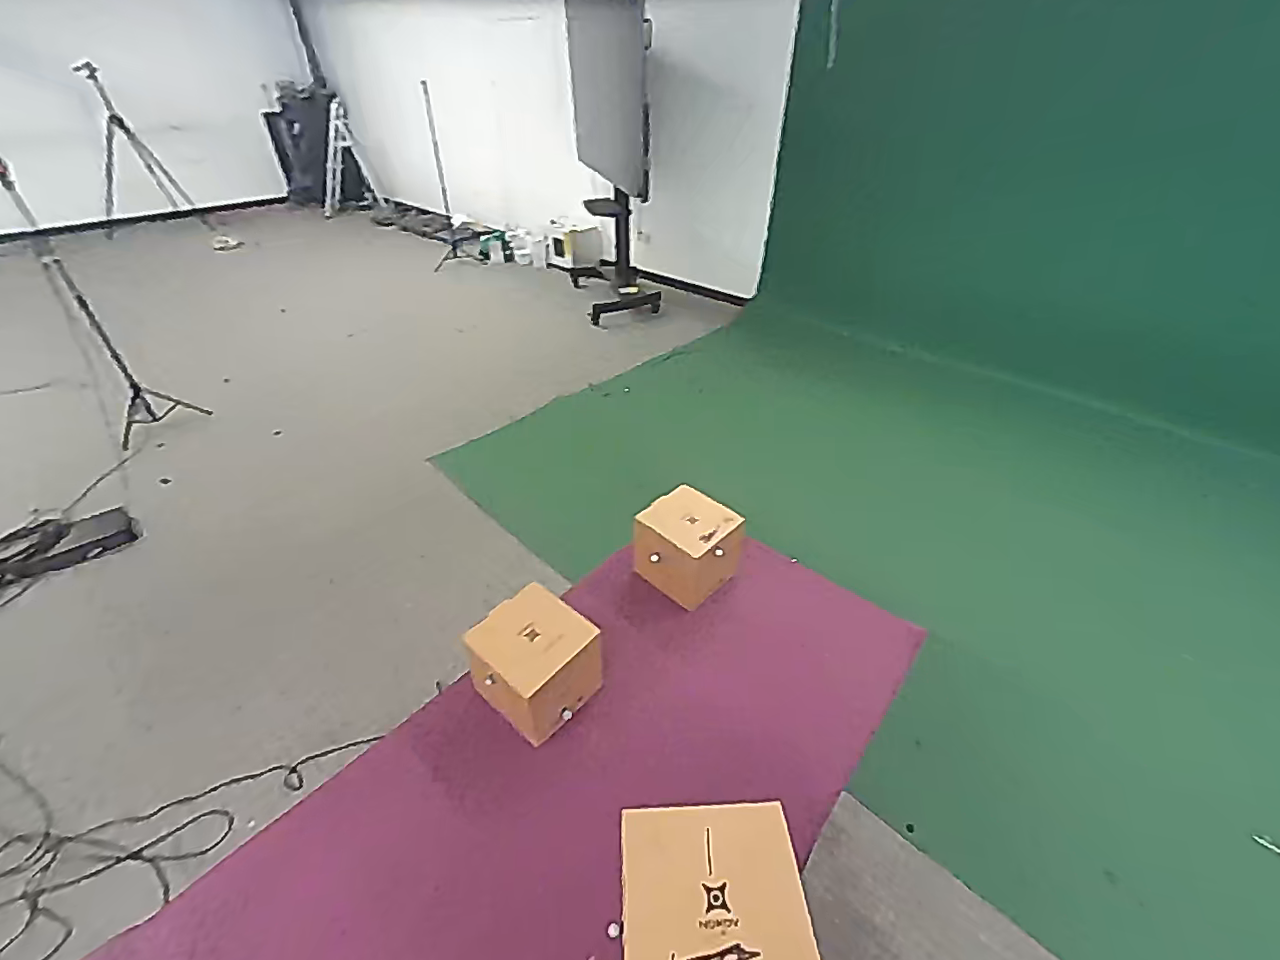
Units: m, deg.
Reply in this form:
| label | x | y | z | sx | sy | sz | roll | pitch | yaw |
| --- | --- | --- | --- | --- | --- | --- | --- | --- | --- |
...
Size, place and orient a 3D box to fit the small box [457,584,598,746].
| label | x | y | z | sx | sy | sz | roll | pitch | yaw |
| --- | --- | --- | --- | --- | --- | --- | --- | --- | --- |
| small box | -0.191 | 0.325 | 0.953 | 0.179 | 0.176 | 0.168 | 28 | 46 | 31 |

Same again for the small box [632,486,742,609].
| label | x | y | z | sx | sy | sz | roll | pitch | yaw |
| --- | --- | --- | --- | --- | --- | --- | --- | --- | --- |
| small box | 0.098 | 0.148 | 1.186 | 0.179 | 0.176 | 0.168 | 30 | 47 | 34 |

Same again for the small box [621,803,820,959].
| label | x | y | z | sx | sy | sz | roll | pitch | yaw |
| --- | --- | --- | --- | --- | --- | --- | --- | --- | --- |
| small box | 0.066 | 0.441 | 0.517 | 0.168 | 0.176 | 0.179 | -1 | 36 | -2 |
